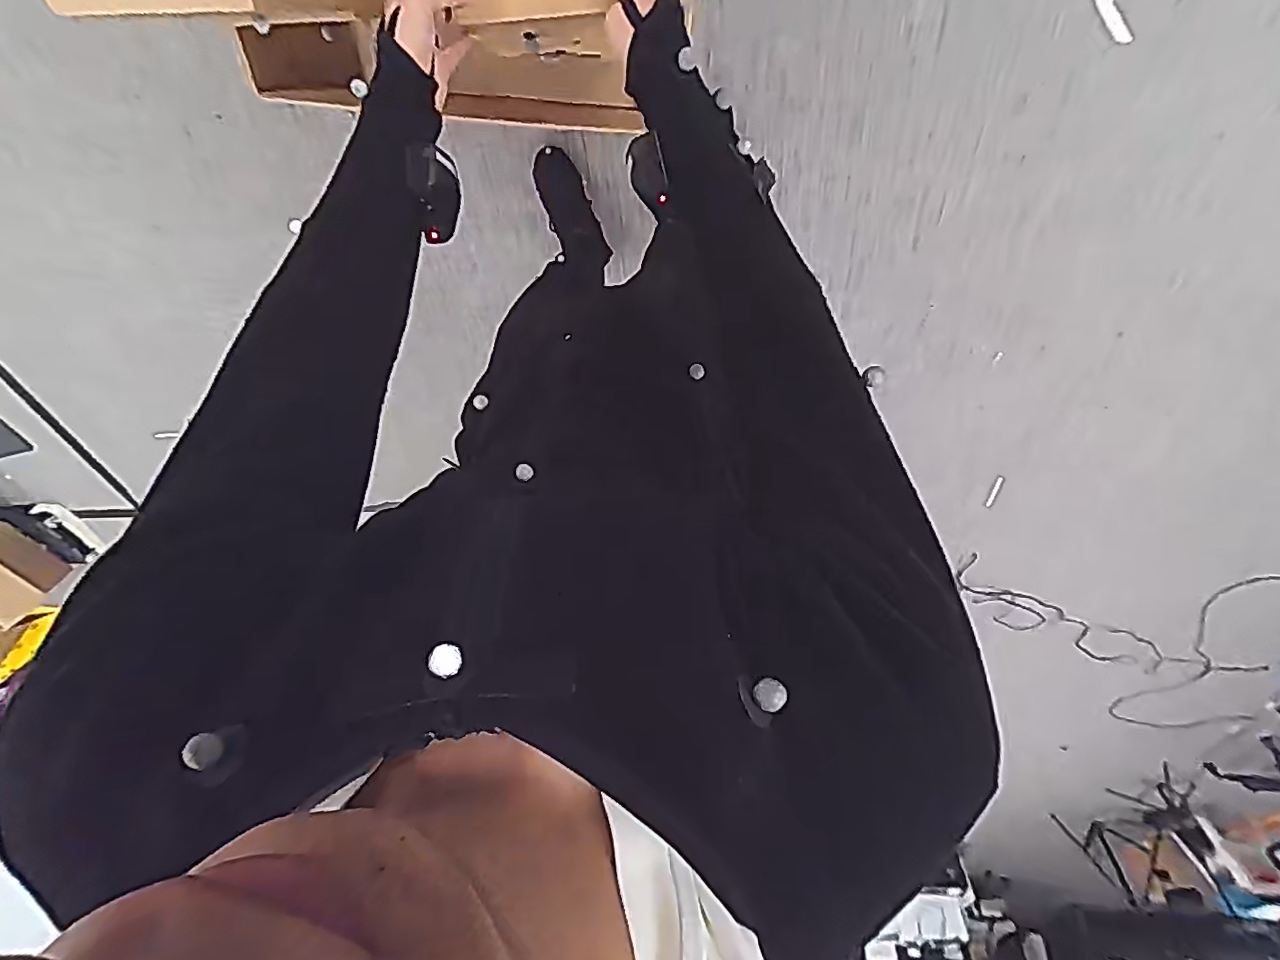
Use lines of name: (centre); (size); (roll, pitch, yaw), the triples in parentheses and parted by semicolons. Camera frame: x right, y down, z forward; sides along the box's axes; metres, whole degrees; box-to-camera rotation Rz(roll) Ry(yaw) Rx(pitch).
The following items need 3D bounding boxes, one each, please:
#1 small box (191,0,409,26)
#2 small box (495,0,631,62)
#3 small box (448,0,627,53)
small box: (-0.371, -0.589, 0.563); (0.168, 0.176, 0.179); (2, 131, 5)
small box: (-0.098, -0.661, 0.700); (0.168, 0.176, 0.179); (3, 131, 1)
small box: (-0.104, -0.561, 0.555); (0.168, 0.176, 0.179); (-2, 119, 4)
